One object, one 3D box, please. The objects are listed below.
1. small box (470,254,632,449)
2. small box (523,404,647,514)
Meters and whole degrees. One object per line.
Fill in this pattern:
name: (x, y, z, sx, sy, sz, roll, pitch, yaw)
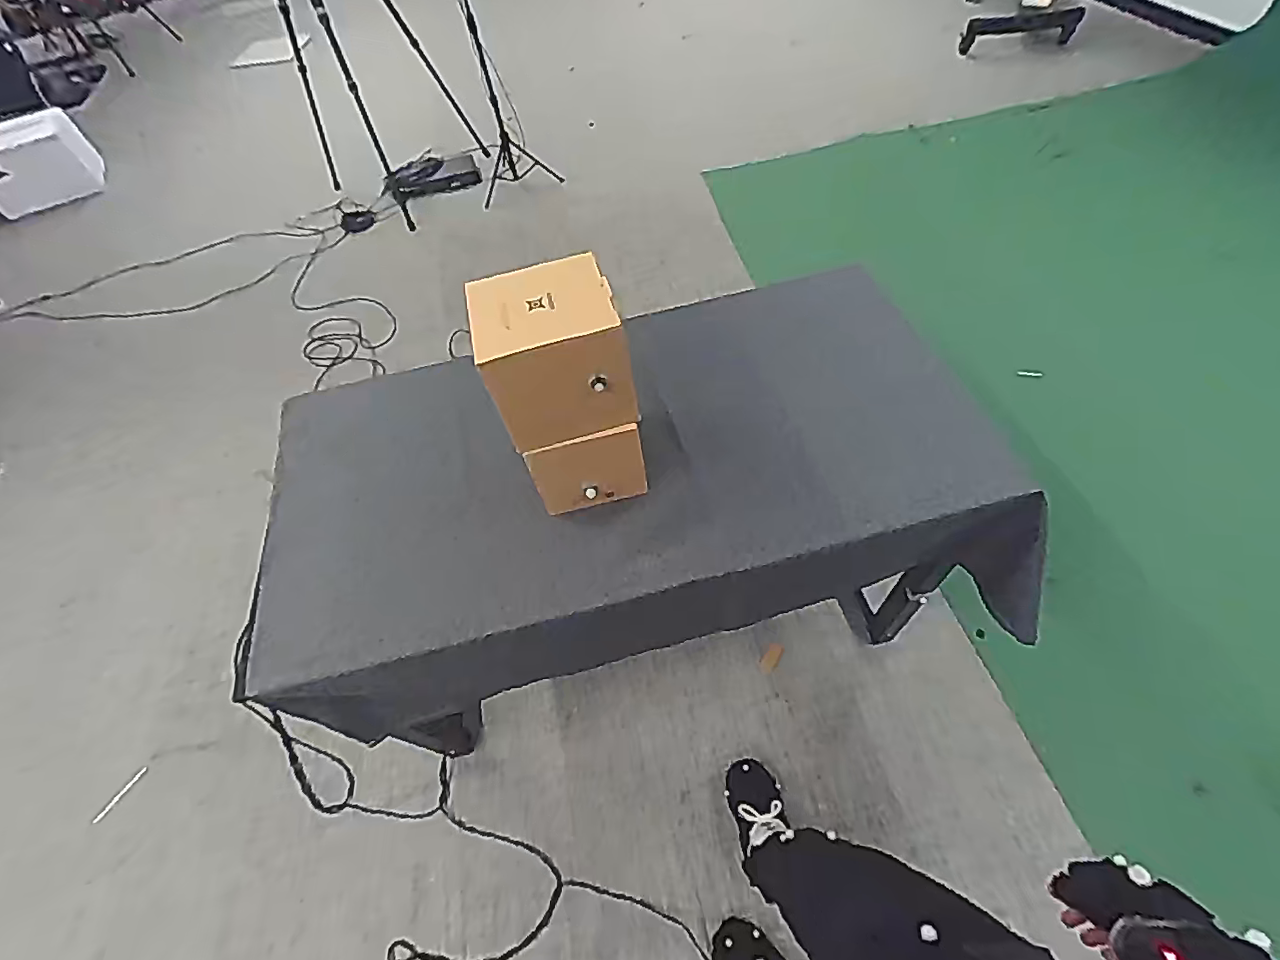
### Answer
small box: (-0.112, -0.168, 0.730, 0.179, 0.176, 0.168, -15, 53, -3)
small box: (-0.090, -0.073, 0.861, 0.168, 0.176, 0.179, -13, 55, -2)
